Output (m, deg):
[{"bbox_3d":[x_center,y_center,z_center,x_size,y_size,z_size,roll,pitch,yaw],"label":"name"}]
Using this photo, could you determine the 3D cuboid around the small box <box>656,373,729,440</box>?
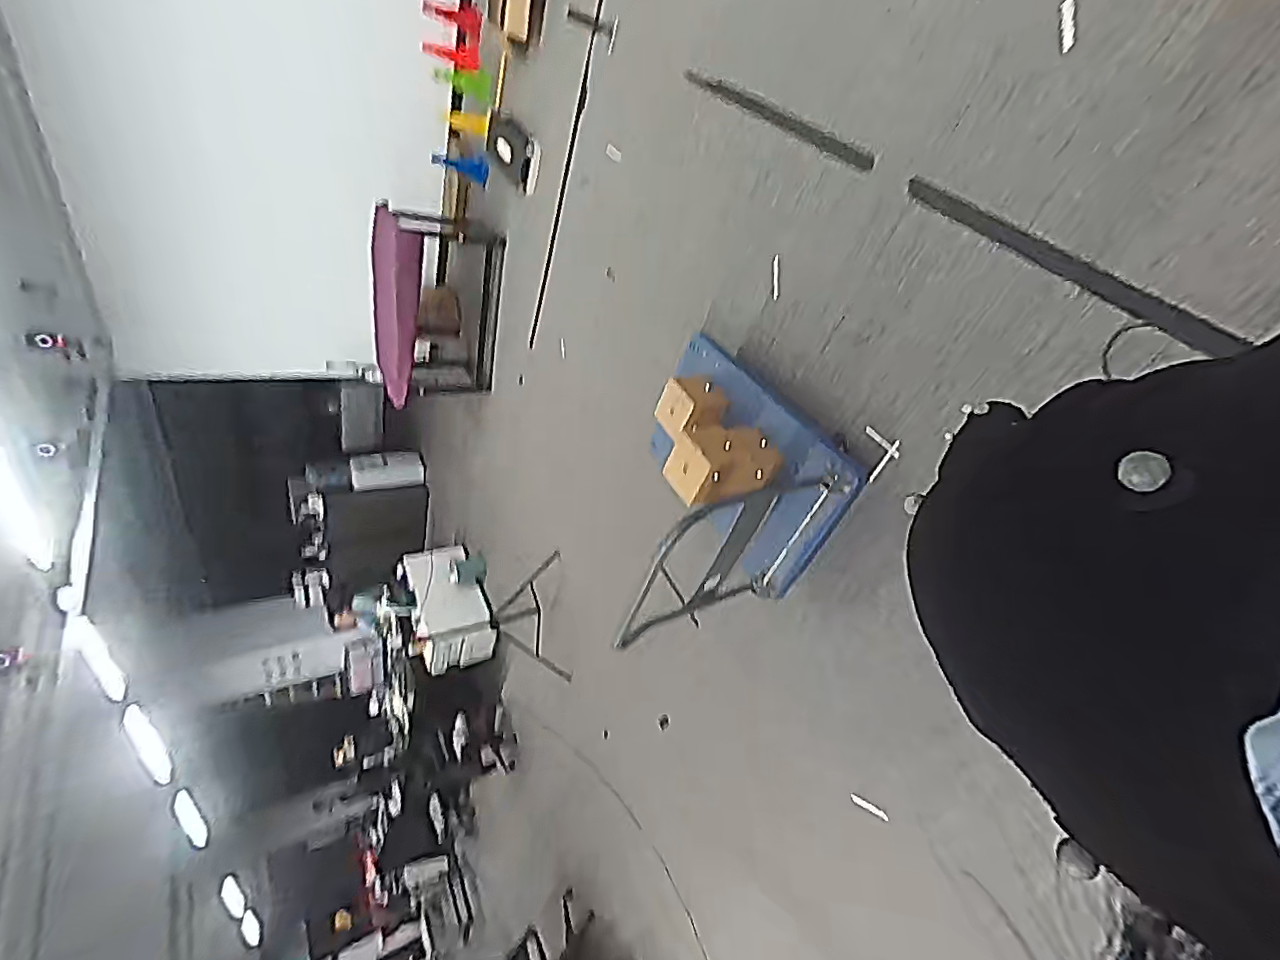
[{"bbox_3d":[0.189,-0.266,1.945,0.168,0.176,0.179,56,138,31],"label":"small box"}]

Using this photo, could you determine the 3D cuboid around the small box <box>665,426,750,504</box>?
[{"bbox_3d":[0.209,-0.050,1.674,0.168,0.176,0.179,55,137,34],"label":"small box"}]
